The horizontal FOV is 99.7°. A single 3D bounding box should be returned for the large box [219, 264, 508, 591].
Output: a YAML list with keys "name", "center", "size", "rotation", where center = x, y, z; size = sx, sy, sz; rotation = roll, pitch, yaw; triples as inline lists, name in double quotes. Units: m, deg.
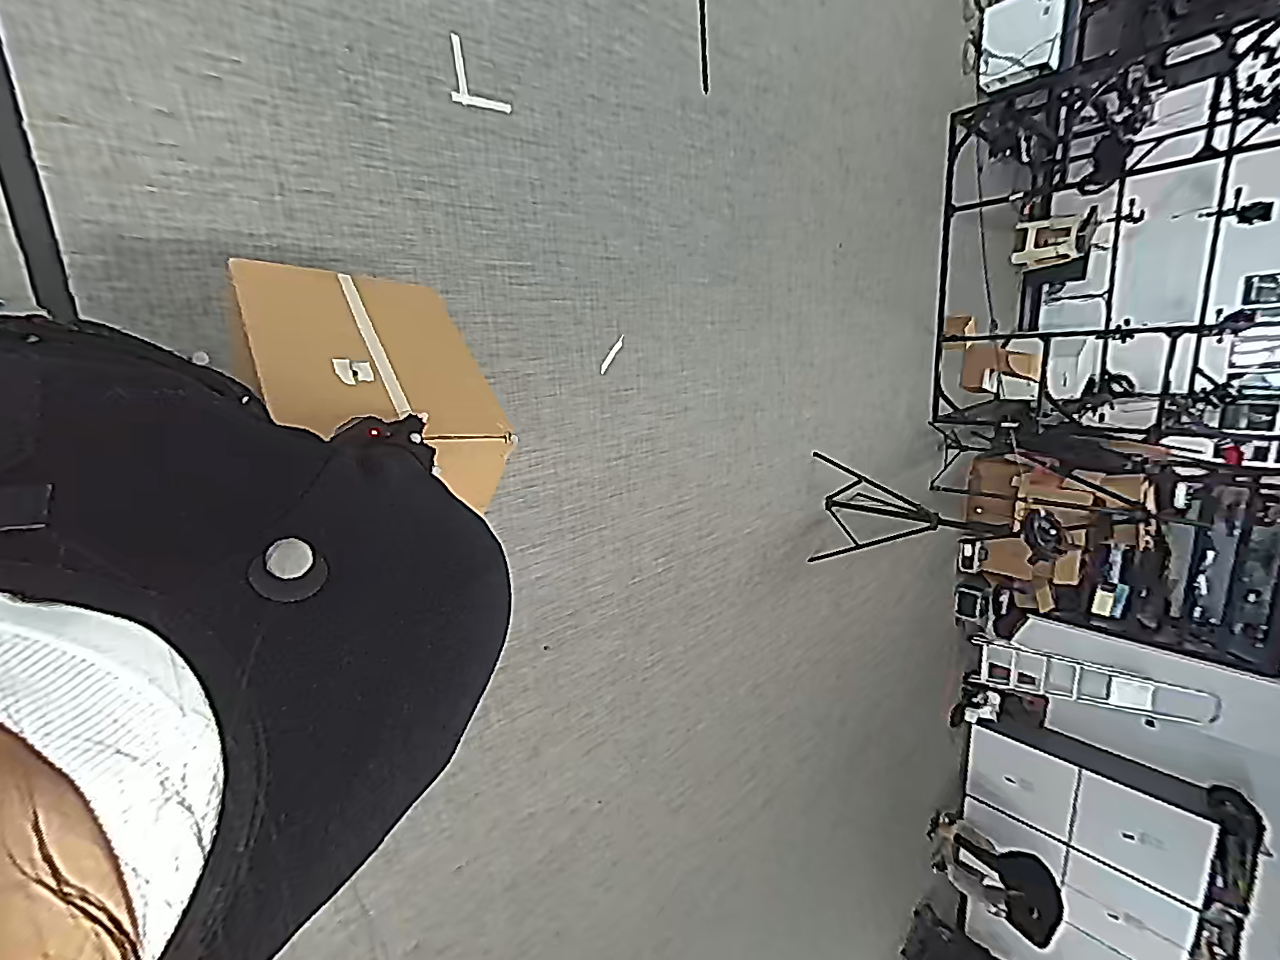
- name: "large box"
  center: [-0.480, -0.088, 0.901]
  size: [0.320, 0.408, 0.320]
  rotation: [-7, 143, -41]
